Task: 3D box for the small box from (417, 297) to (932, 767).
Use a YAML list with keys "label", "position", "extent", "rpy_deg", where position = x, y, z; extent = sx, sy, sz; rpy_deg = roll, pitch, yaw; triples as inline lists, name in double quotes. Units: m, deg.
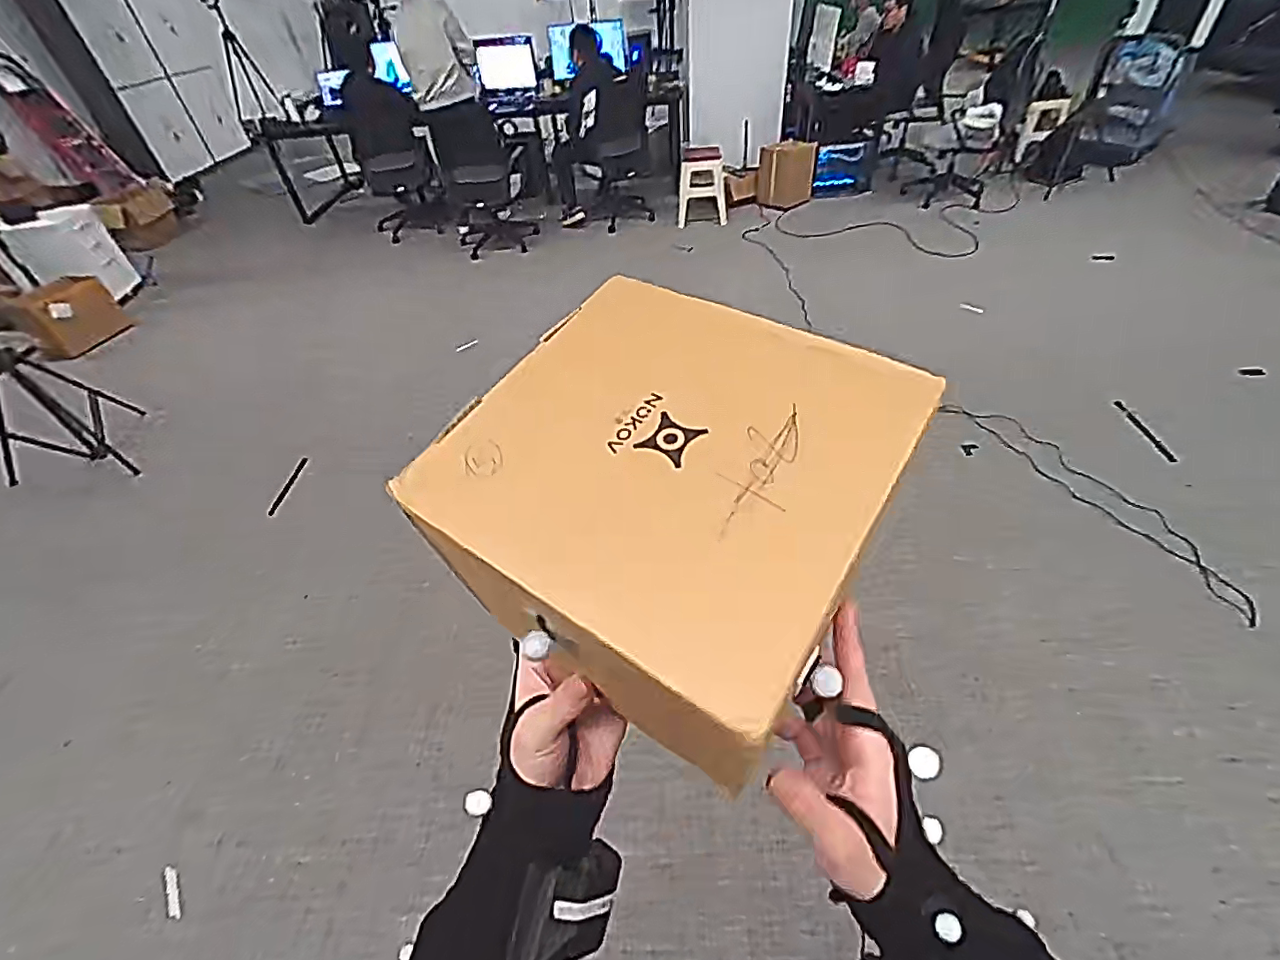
- label: "small box"
  position: [0.023, 0.033, 0.303]
  extent: [0.179, 0.176, 0.168]
  rpy_deg: [26, 63, 23]
